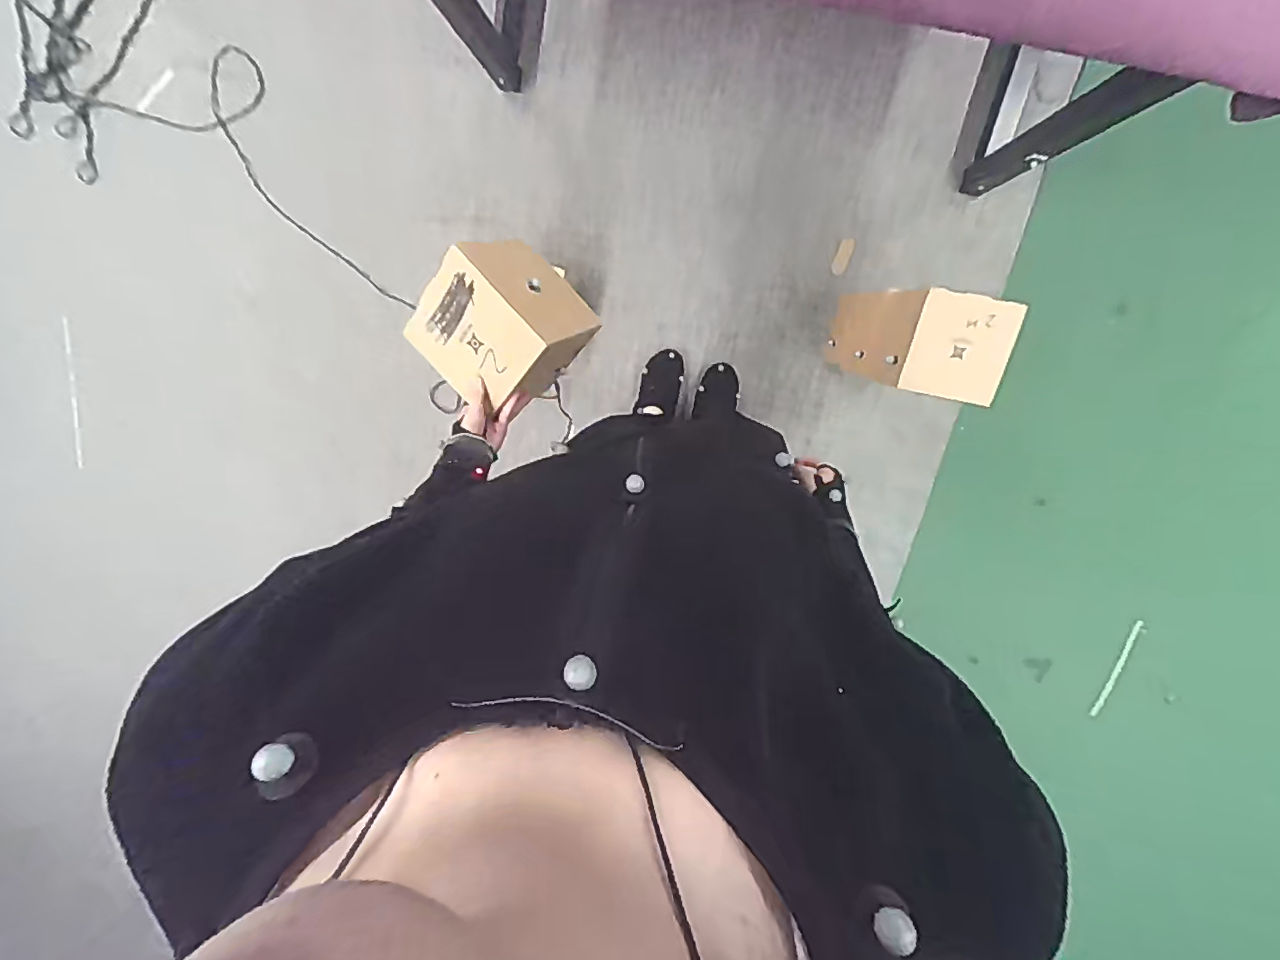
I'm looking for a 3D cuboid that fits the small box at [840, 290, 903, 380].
[{"bbox_3d":[0.547,-0.297,1.155,0.168,0.176,0.179,11,106,2],"label":"small box"}]

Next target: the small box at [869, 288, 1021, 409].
[{"bbox_3d":[0.545,-0.243,0.999,0.168,0.176,0.179,12,106,1],"label":"small box"}]

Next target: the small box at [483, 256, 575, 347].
[{"bbox_3d":[-0.273,-0.443,1.359,0.168,0.176,0.179,16,106,1],"label":"small box"}]

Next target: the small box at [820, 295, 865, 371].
[{"bbox_3d":[0.556,-0.339,1.311,0.179,0.176,0.168,14,105,1],"label":"small box"}]
